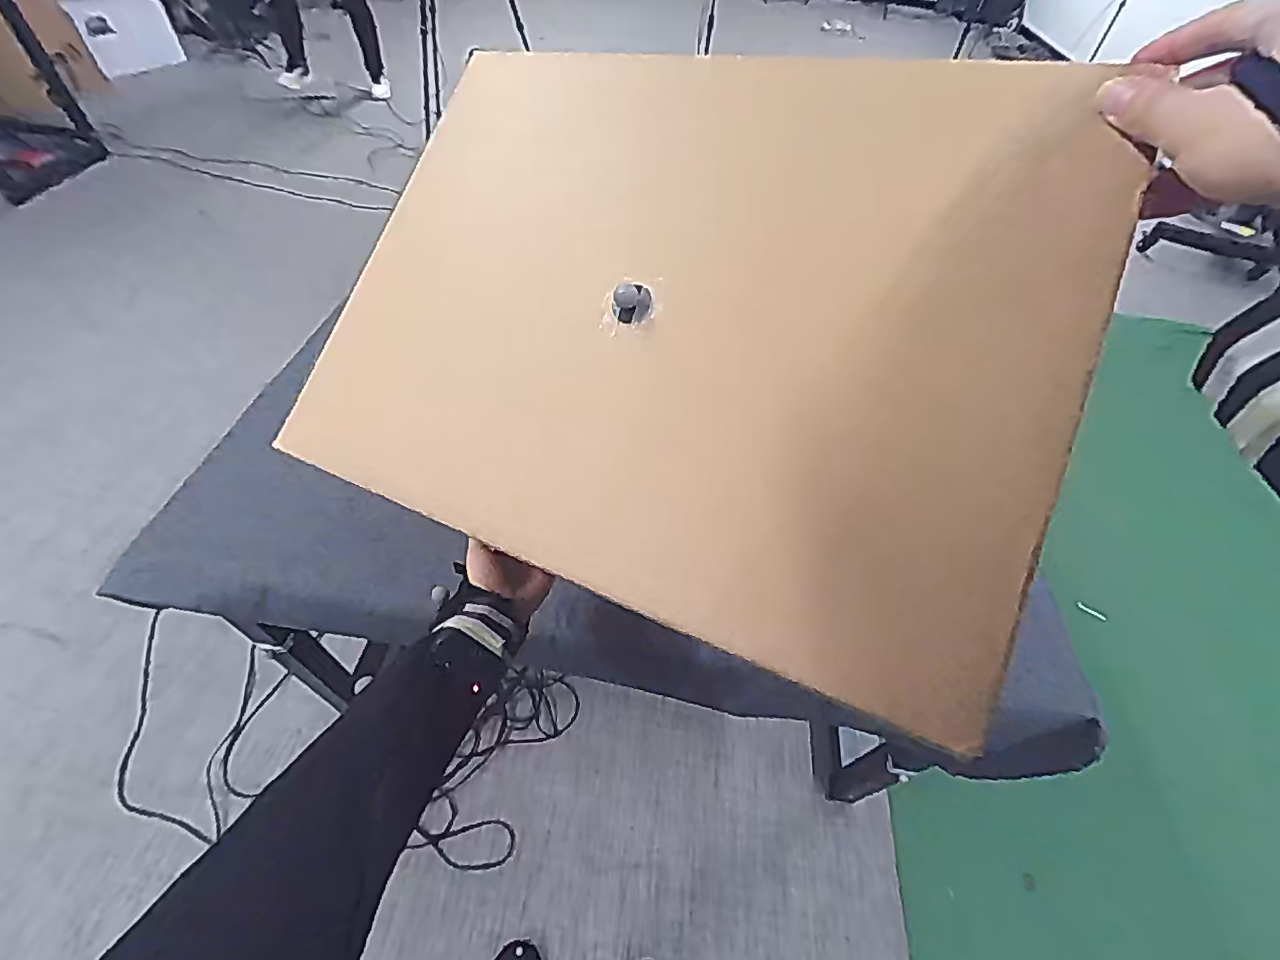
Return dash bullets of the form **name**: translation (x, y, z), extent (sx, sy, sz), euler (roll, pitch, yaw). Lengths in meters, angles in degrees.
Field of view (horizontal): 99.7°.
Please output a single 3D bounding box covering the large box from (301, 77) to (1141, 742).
- **large box**: translation (0.048, -0.052, 0.434), extent (0.408, 0.320, 0.320), euler (18, 81, 21)
